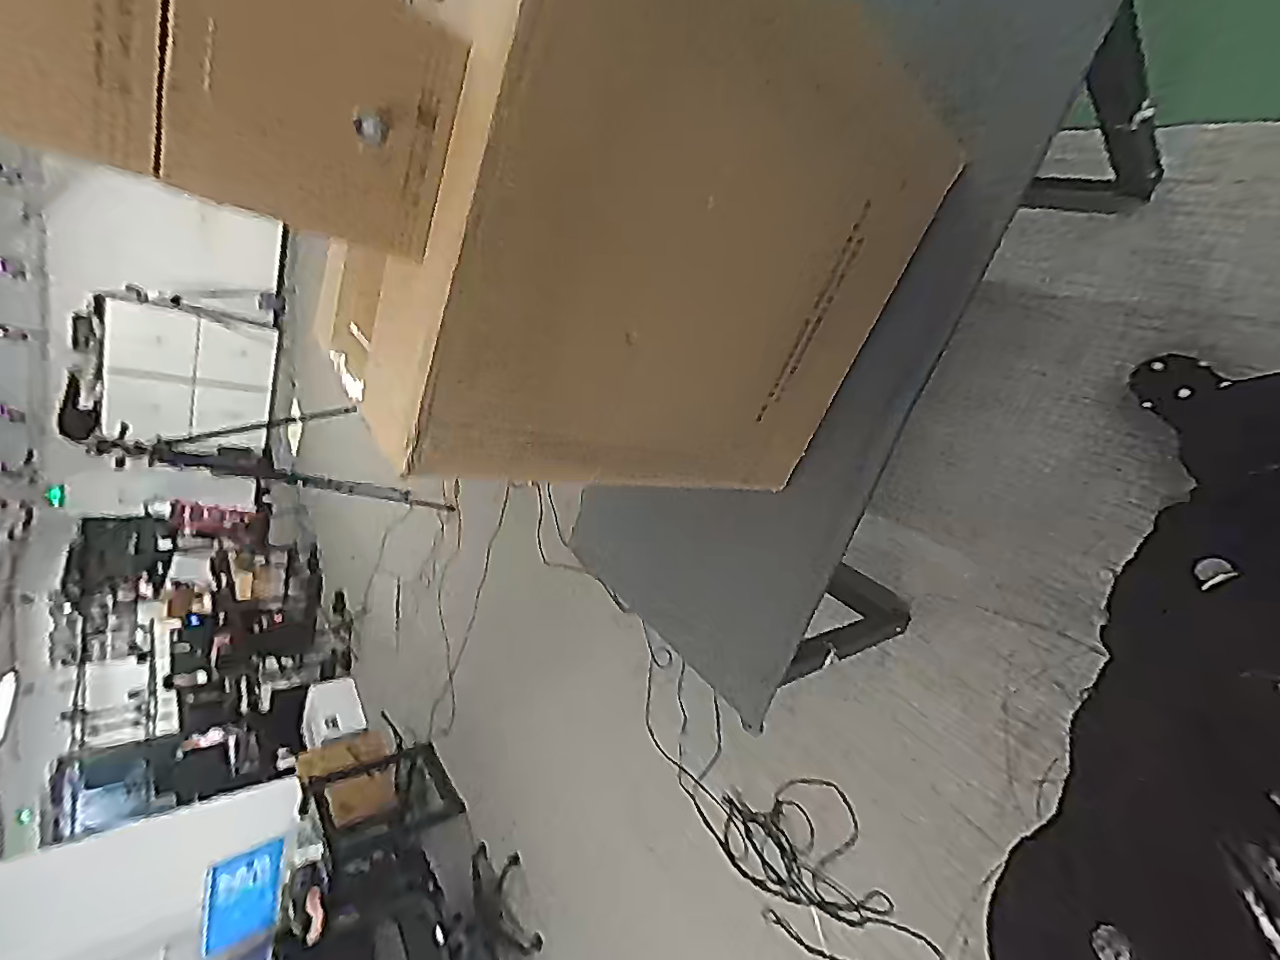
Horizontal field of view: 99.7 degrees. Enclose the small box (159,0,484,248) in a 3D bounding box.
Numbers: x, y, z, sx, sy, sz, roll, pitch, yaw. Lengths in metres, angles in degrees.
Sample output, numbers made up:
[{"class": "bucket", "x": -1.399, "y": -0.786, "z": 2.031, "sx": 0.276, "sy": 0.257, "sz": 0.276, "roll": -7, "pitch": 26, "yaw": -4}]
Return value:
[{"class": "small box", "x": -0.247, "y": -0.298, "z": 0.414, "sx": 0.179, "sy": 0.176, "sz": 0.168, "roll": 39, "pitch": 116, "yaw": 38}]
